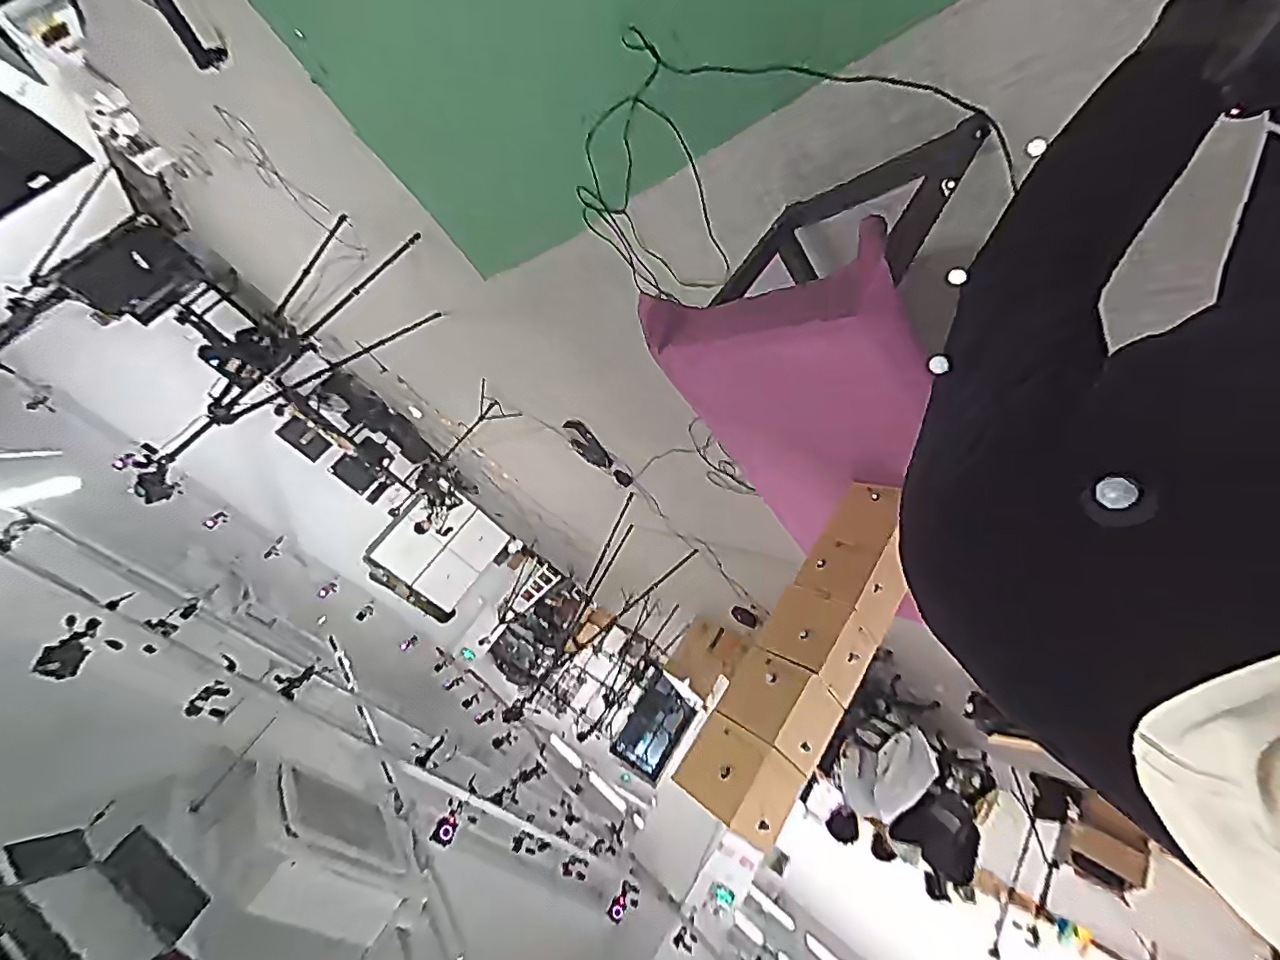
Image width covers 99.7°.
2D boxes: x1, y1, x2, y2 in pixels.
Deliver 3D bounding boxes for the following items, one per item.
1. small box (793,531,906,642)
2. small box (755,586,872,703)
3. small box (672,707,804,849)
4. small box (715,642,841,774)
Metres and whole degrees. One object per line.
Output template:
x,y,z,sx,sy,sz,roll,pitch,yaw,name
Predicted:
0.496,0.242,1.271,0.168,0.176,0.179,11,148,51,small box
0.399,0.363,1.221,0.179,0.176,0.168,11,146,51,small box
0.205,0.602,1.111,0.168,0.176,0.179,10,147,52,small box
0.303,0.485,1.167,0.168,0.176,0.179,10,145,53,small box
